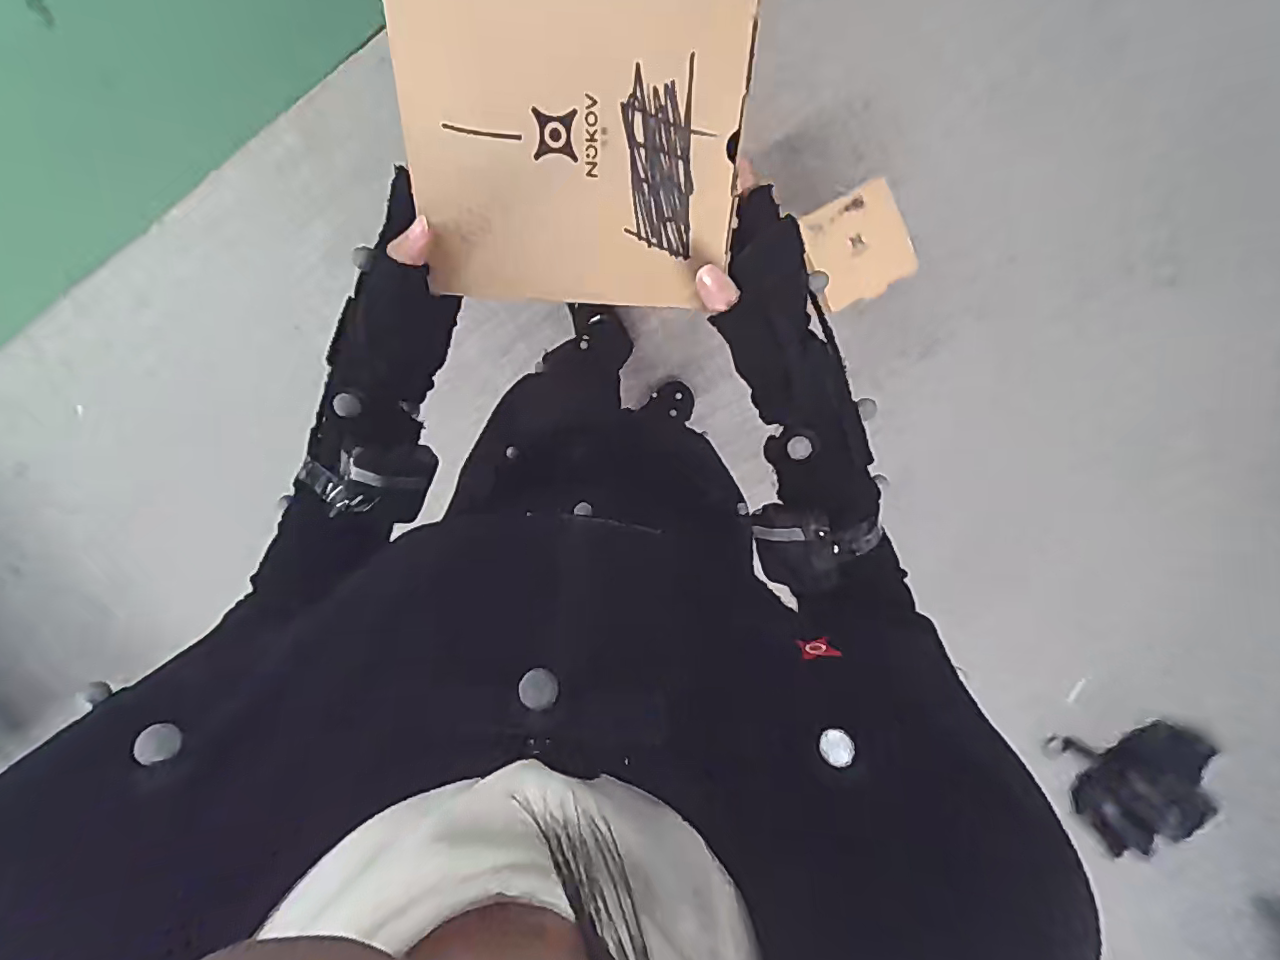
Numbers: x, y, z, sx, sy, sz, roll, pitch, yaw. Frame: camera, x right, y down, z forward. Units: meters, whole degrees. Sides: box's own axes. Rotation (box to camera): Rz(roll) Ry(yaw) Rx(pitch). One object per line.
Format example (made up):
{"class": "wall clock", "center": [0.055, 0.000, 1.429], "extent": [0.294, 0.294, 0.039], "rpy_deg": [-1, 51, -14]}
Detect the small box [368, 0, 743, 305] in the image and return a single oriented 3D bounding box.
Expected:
{"class": "small box", "center": [-0.038, -0.219, 0.347], "extent": [0.179, 0.176, 0.168], "rpy_deg": [-2, 122, 1]}

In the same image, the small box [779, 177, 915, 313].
{"class": "small box", "center": [0.387, -0.439, 1.035], "extent": [0.168, 0.176, 0.179], "rpy_deg": [-26, 104, 10]}

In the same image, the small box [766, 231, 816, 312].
{"class": "small box", "center": [0.396, -0.489, 1.191], "extent": [0.168, 0.176, 0.179], "rpy_deg": [-28, 101, 10]}
